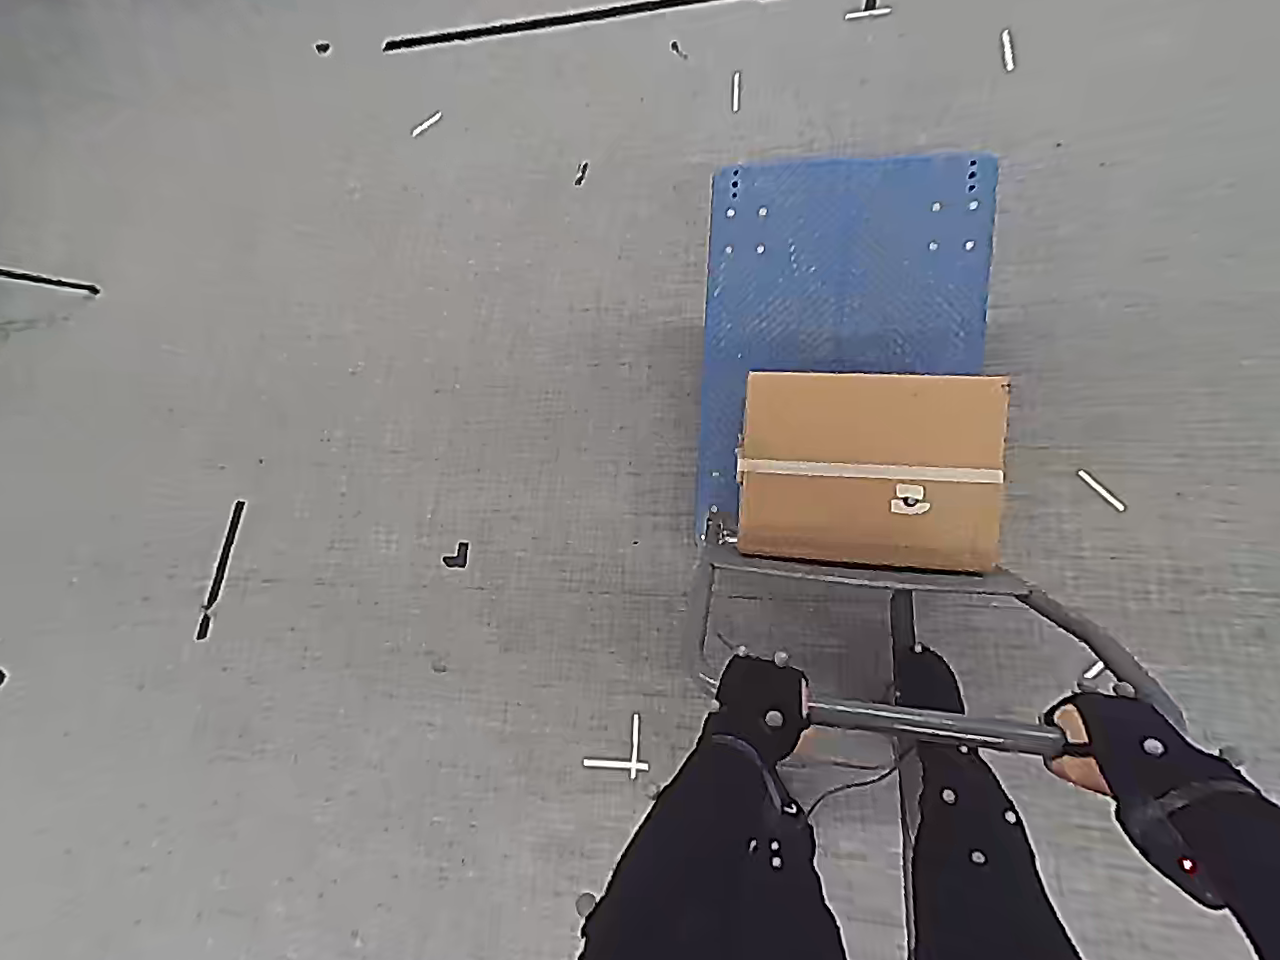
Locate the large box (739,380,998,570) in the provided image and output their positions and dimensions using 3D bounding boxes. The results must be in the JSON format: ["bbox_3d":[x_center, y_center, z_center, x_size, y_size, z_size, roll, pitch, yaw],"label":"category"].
[{"bbox_3d":[0.399,-0.016,1.052,0.408,0.320,0.320,3,93,9],"label":"large box"}]
